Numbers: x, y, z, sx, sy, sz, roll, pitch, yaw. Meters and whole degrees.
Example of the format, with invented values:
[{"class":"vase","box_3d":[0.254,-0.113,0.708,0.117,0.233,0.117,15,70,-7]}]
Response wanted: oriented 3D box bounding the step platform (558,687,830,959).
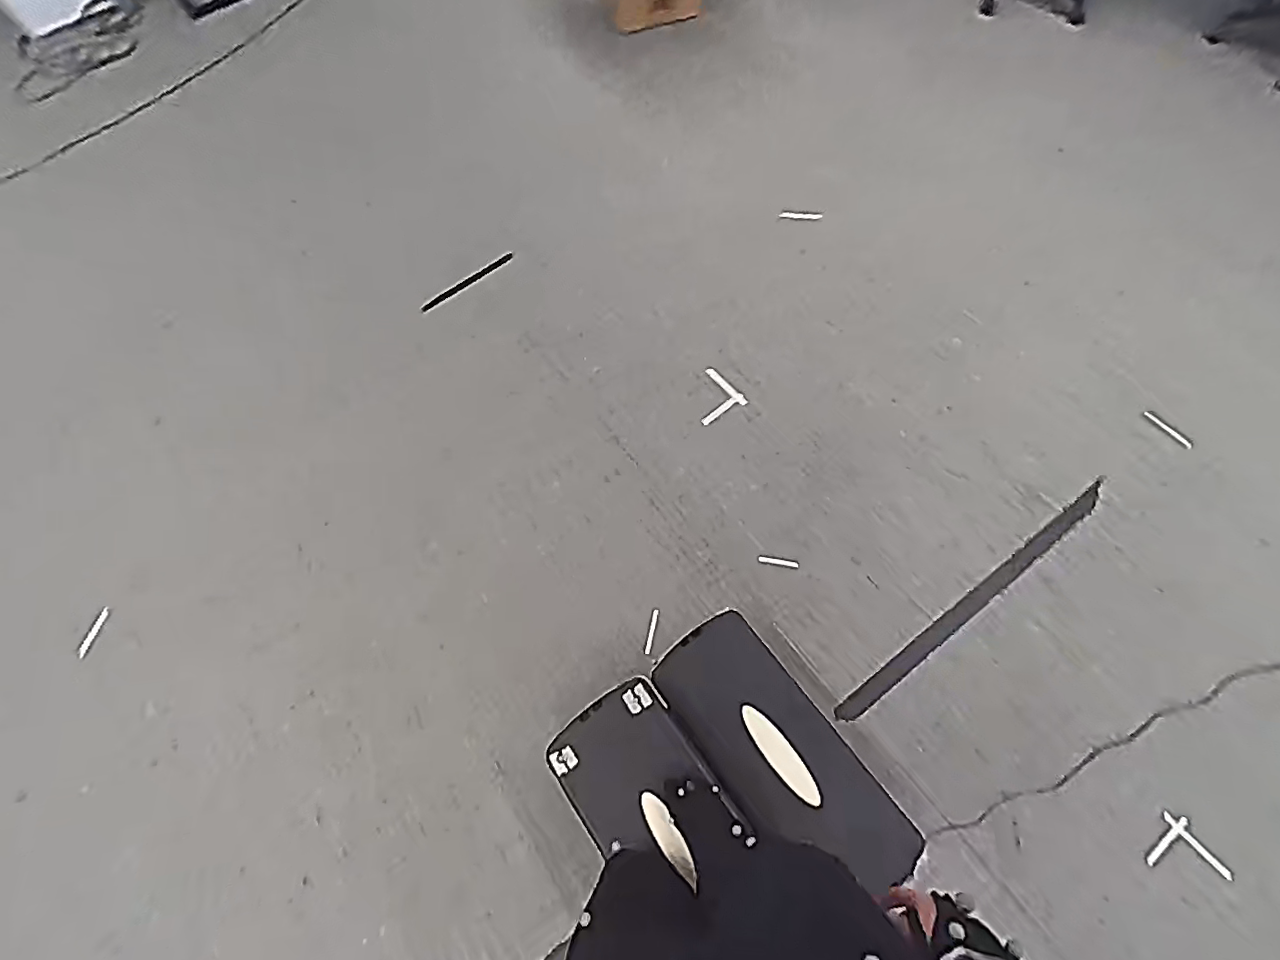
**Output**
[{"class":"step platform","box_3d":[0.098,0.806,1.160,0.286,0.204,0.684,-32,66,-10]}]
